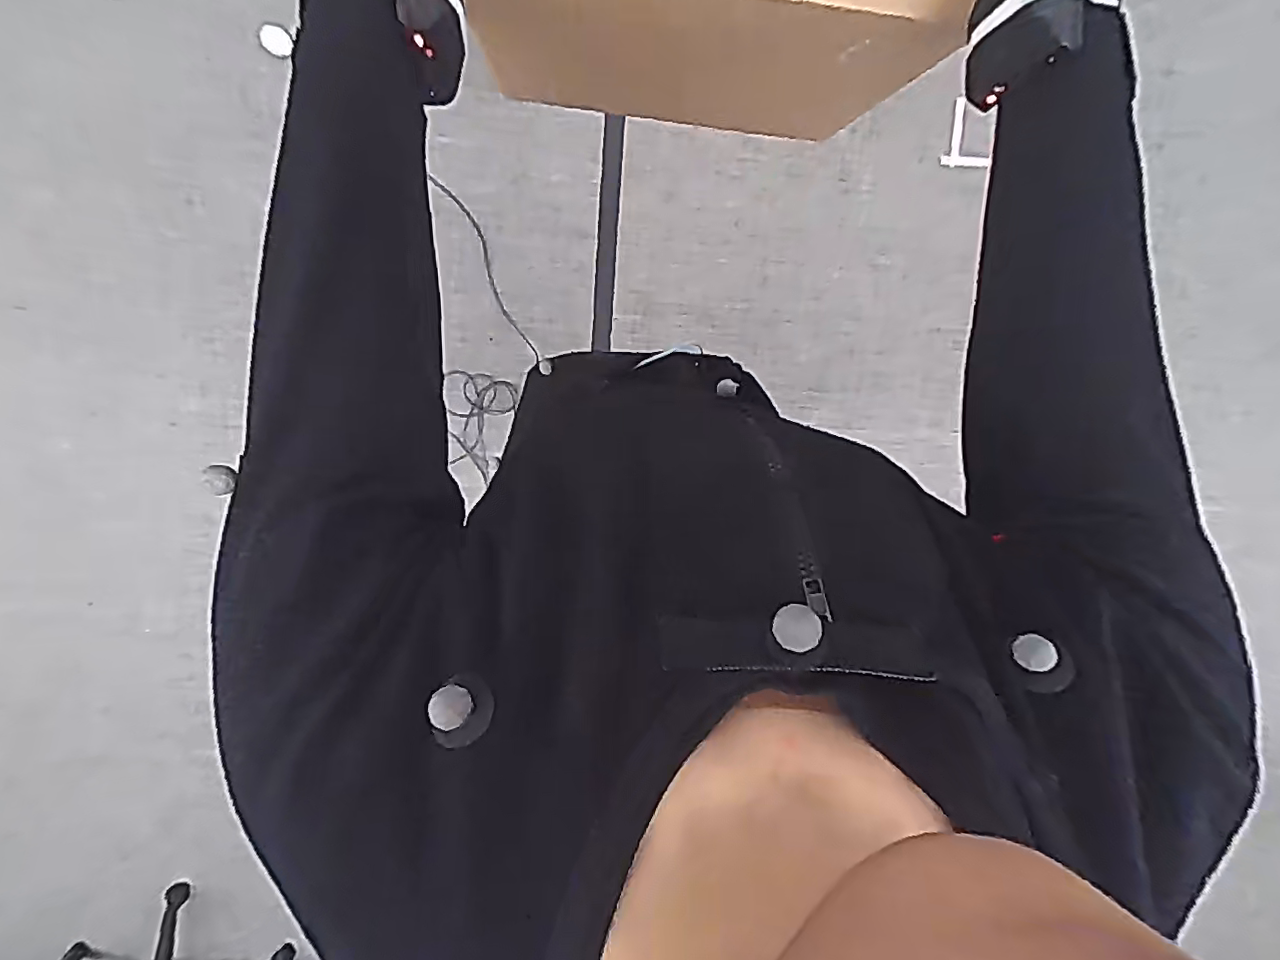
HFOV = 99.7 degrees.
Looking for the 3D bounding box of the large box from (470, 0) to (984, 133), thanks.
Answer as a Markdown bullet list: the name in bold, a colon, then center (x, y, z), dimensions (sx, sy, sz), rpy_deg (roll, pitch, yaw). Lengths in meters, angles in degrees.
- **large box**: center (0.059, -0.546, 0.482), dimensions (0.408, 0.320, 0.320), rpy_deg (3, 109, -6)
